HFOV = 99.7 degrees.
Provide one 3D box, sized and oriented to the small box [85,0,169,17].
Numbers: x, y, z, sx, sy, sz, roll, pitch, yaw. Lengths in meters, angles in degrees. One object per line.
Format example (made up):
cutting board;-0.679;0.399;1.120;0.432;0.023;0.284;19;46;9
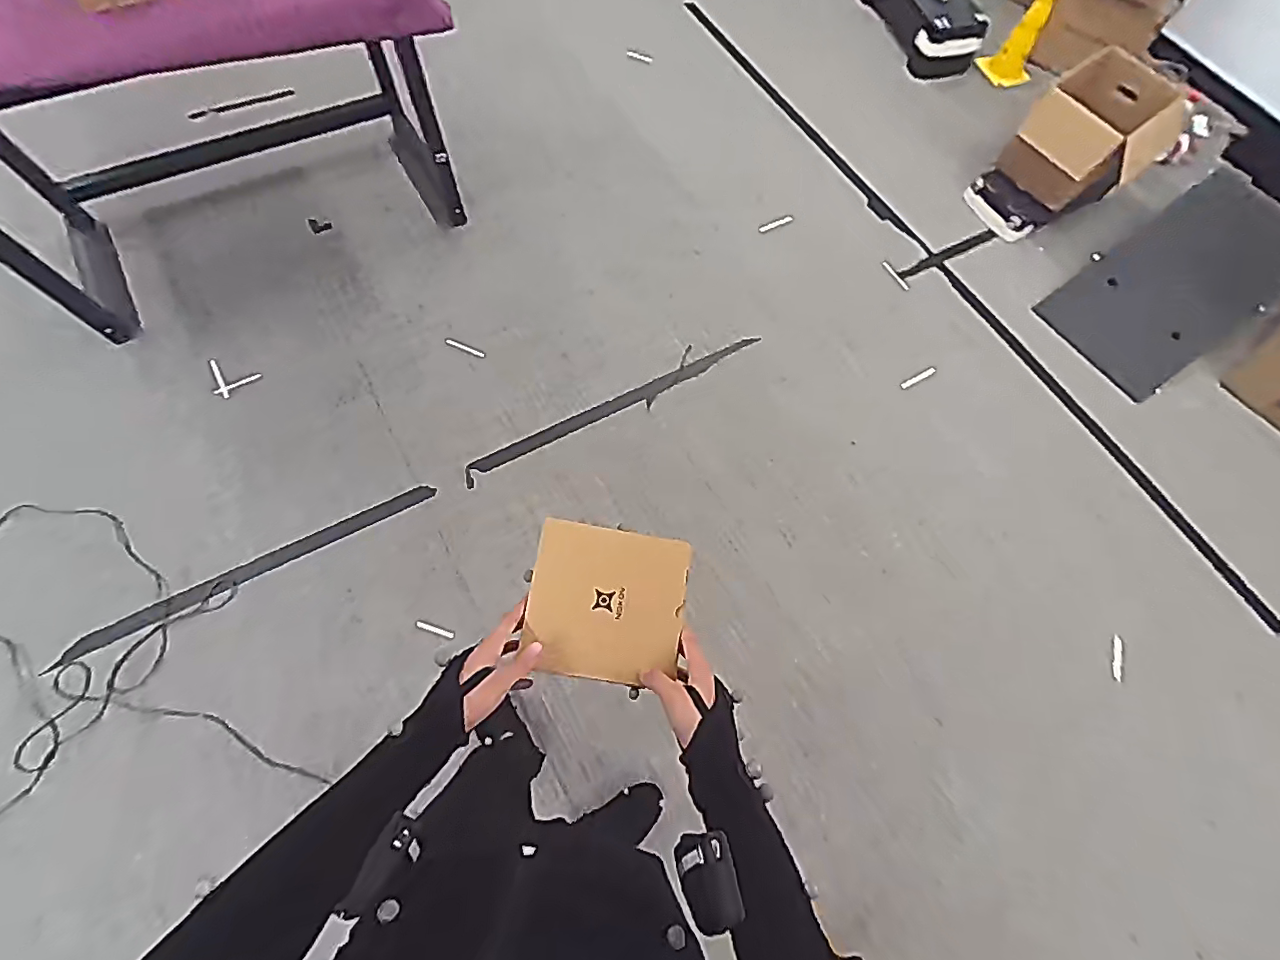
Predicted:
small box;-1.156;-1.150;1.163;0.179;0.176;0.168;-29;71;-15

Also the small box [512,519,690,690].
small box;-0.050;0.159;0.669;0.179;0.176;0.168;10;71;-6

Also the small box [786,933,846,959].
small box;0.411;1.140;1.160;0.168;0.176;0.179;-31;73;-15
